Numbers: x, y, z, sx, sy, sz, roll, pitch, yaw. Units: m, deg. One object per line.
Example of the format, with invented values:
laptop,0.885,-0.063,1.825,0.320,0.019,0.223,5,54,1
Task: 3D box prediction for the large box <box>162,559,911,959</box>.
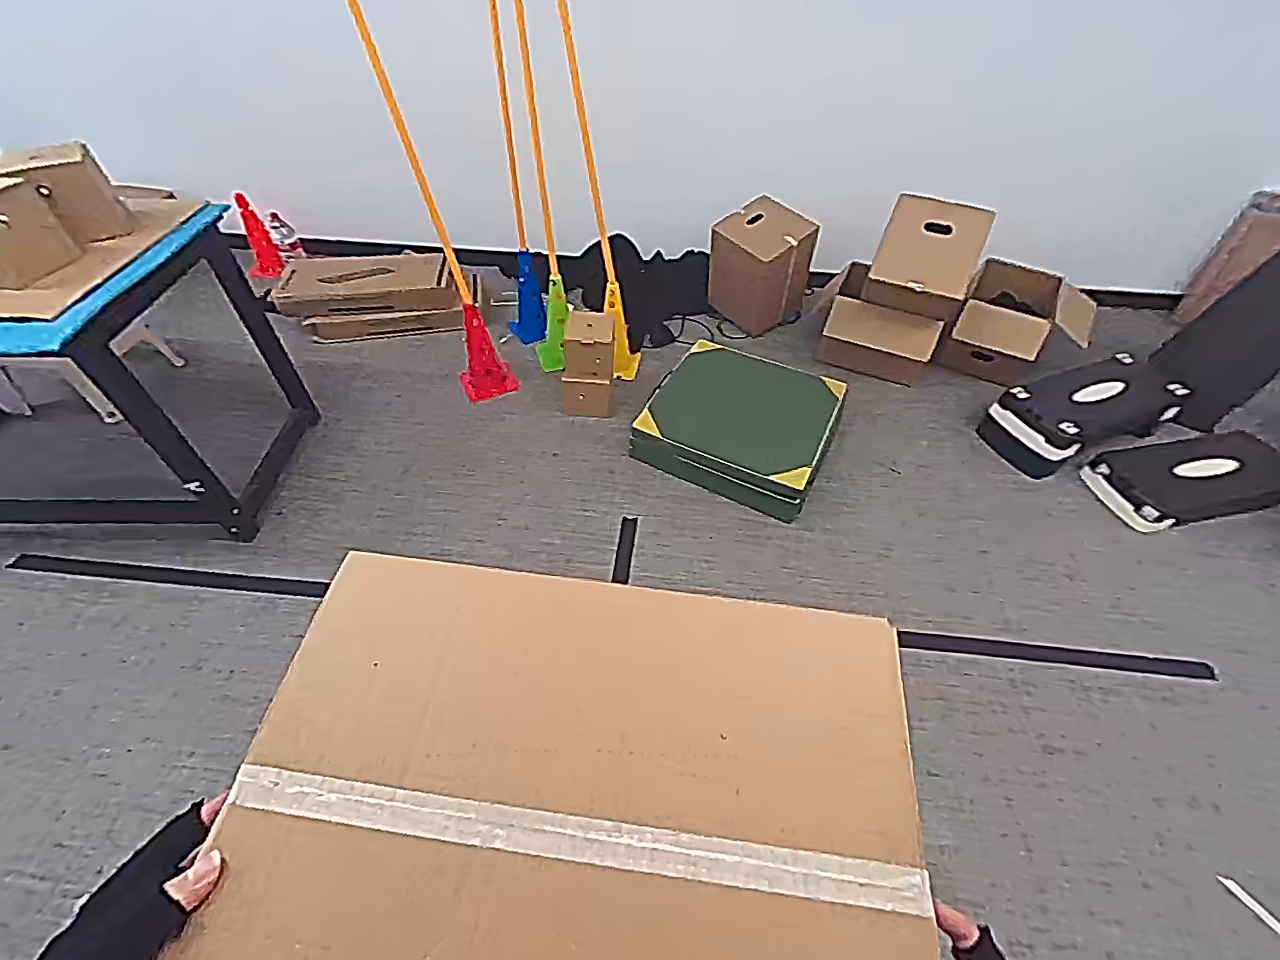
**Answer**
large box,-0.045,0.286,0.446,0.408,0.320,0.320,6,55,4
